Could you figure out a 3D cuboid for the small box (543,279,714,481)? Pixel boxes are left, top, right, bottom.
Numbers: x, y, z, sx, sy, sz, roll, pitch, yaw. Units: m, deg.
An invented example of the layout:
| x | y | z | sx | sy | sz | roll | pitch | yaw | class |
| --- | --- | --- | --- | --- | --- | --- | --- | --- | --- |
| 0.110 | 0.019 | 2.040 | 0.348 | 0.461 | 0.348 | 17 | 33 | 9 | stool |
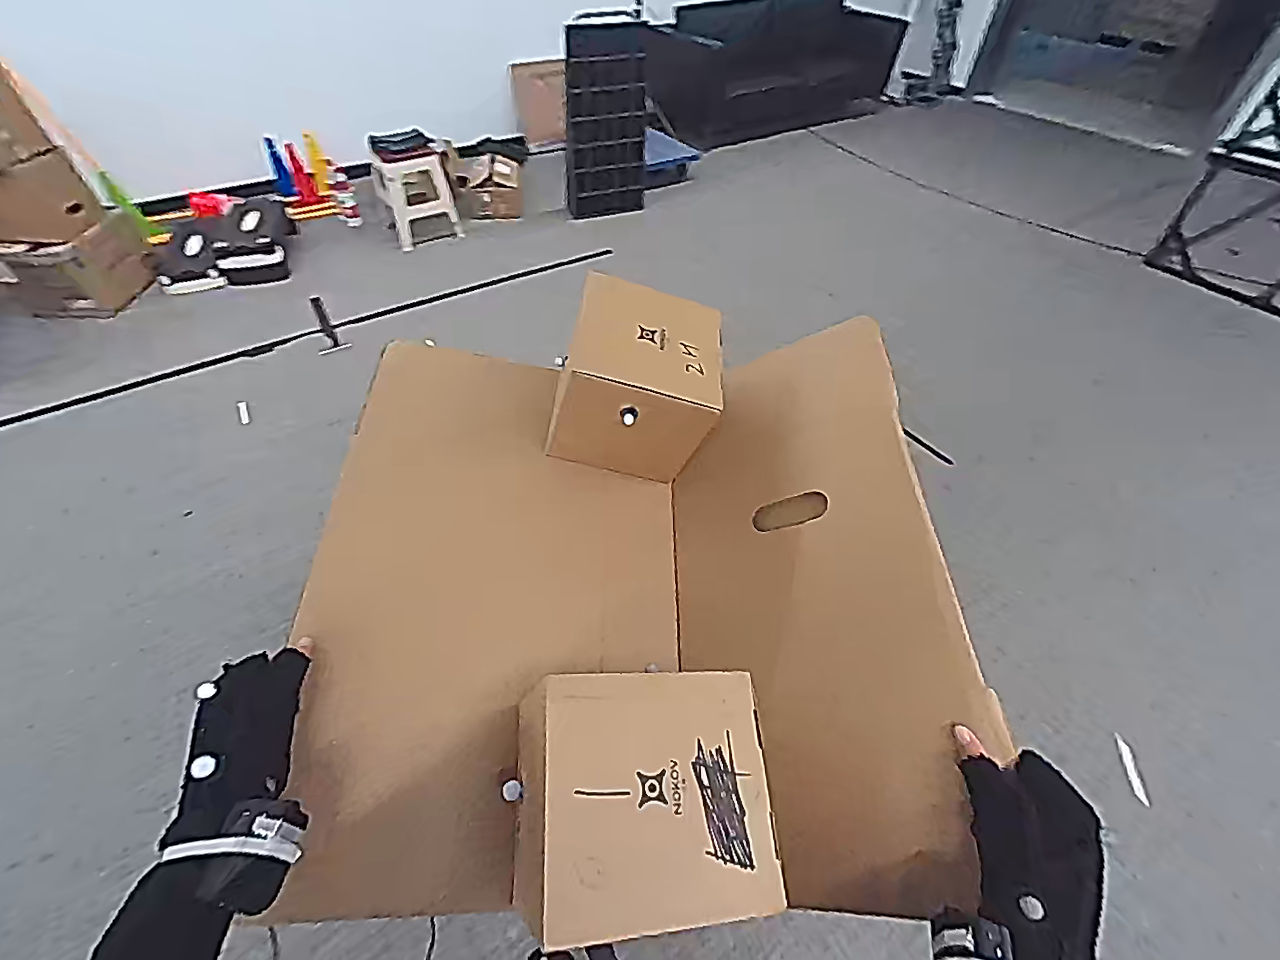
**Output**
| x | y | z | sx | sy | sz | roll | pitch | yaw | class |
| --- | --- | --- | --- | --- | --- | --- | --- | --- | --- |
| -0.019 | -0.117 | 0.692 | 0.179 | 0.176 | 0.168 | 13 | 57 | -13 | small box |
